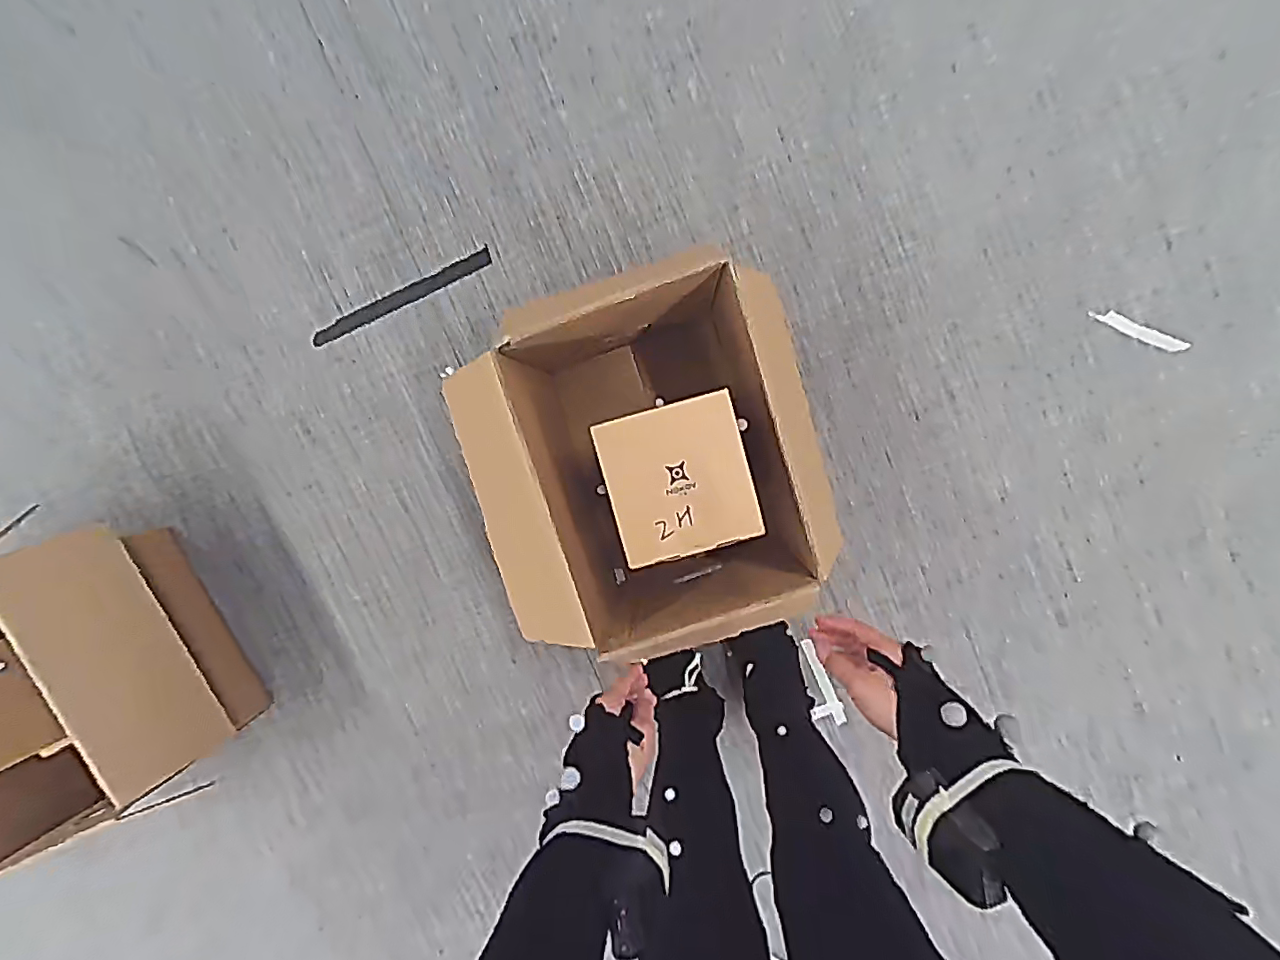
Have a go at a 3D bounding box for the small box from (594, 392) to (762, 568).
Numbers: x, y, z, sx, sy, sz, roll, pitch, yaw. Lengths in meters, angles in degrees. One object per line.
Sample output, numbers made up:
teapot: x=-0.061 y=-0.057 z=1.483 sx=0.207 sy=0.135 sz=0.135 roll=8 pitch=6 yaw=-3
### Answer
small box: x=0.045 y=-0.003 z=0.710 sx=0.168 sy=0.176 sz=0.179 roll=-15 pitch=93 yaw=2
